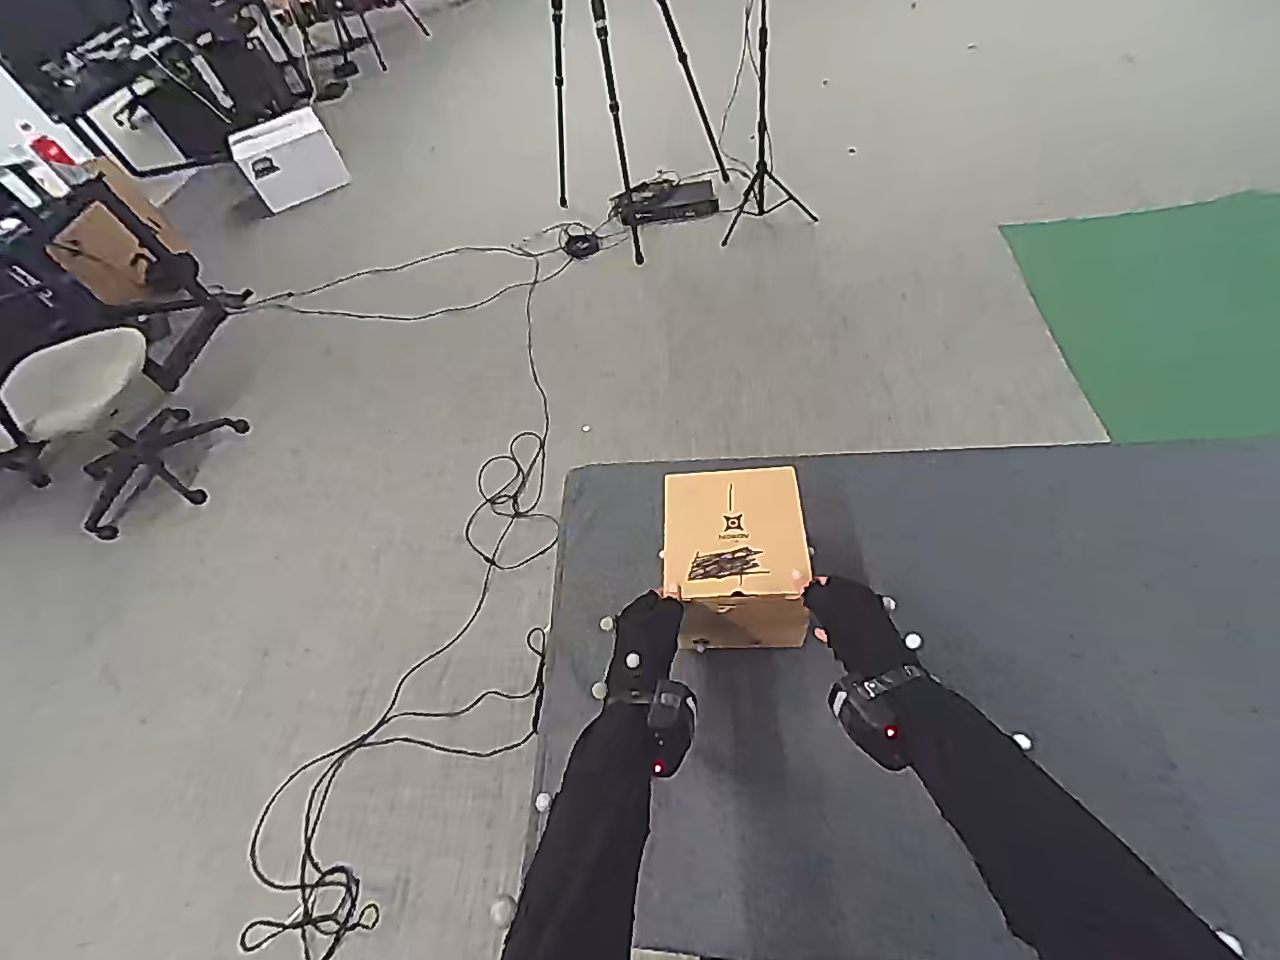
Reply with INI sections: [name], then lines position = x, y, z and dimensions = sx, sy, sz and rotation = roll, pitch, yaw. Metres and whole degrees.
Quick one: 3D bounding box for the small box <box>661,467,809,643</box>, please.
[small box]
position = 0.121, 0.105, 0.705
dimensions = 0.168, 0.176, 0.179
rotation = -4, 54, 9
